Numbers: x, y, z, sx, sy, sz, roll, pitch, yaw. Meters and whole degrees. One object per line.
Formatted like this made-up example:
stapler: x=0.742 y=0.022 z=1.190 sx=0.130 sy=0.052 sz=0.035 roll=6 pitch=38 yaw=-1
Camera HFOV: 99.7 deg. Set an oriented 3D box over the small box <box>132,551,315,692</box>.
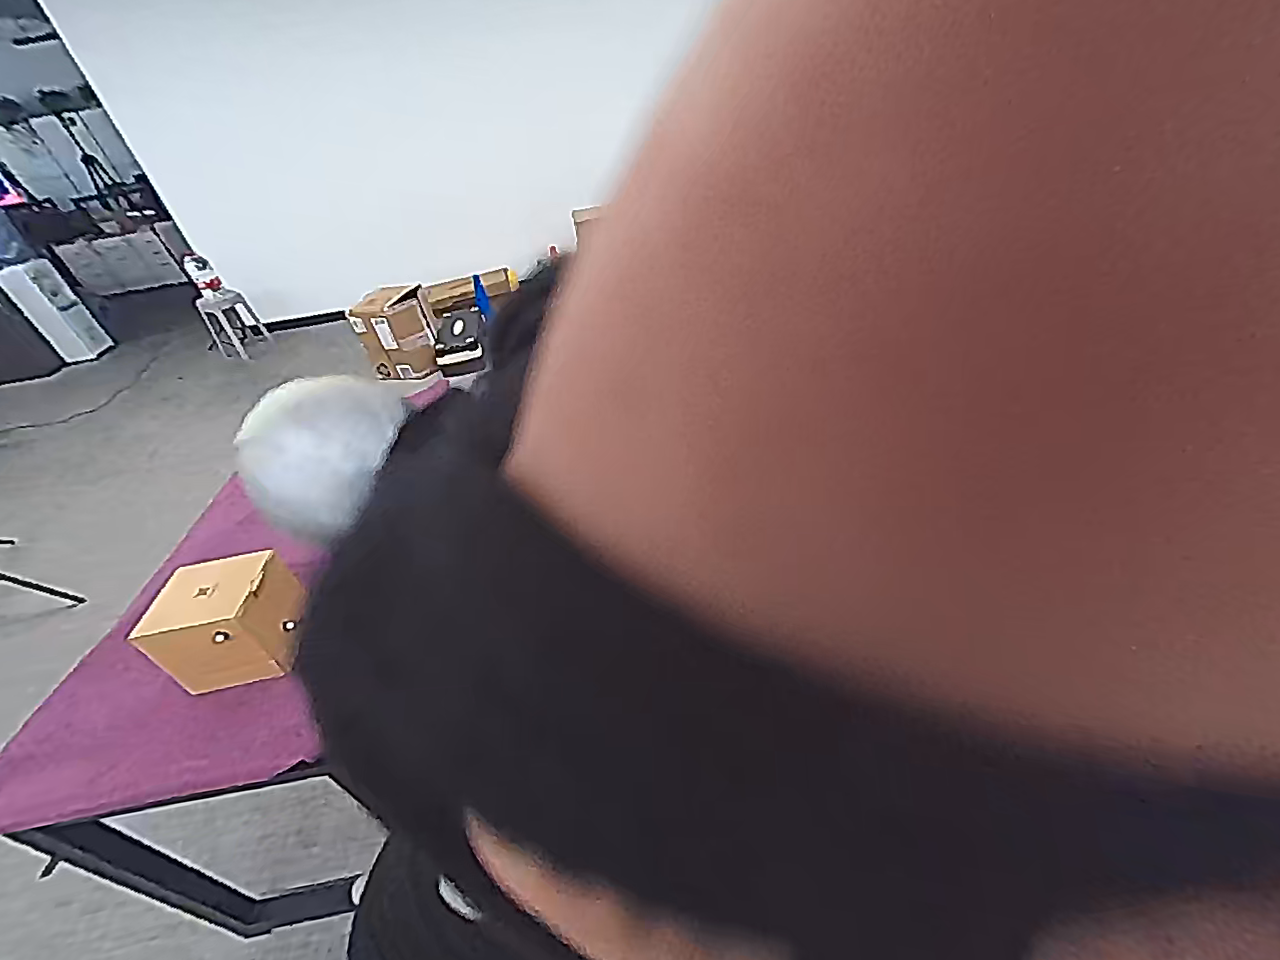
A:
small box: x=-0.741 y=0.261 z=0.988 sx=0.179 sy=0.176 sz=0.168 roll=-12 pitch=37 yaw=-3
